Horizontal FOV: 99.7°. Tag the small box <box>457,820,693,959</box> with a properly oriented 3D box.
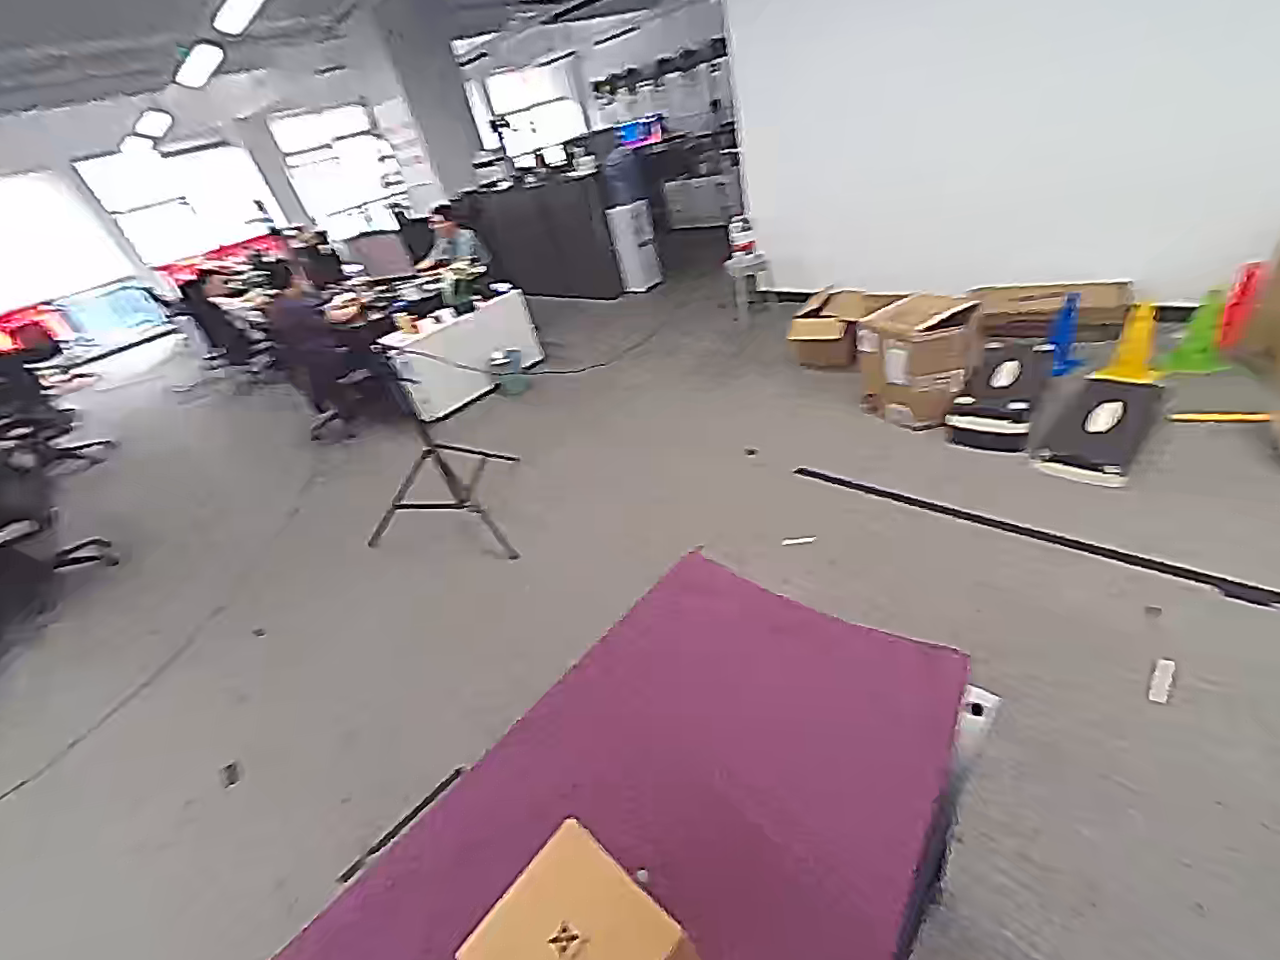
[{"bbox_3d":[-0.059,0.528,0.585,0.179,0.176,0.168,19,47,40],"label":"small box"}]
